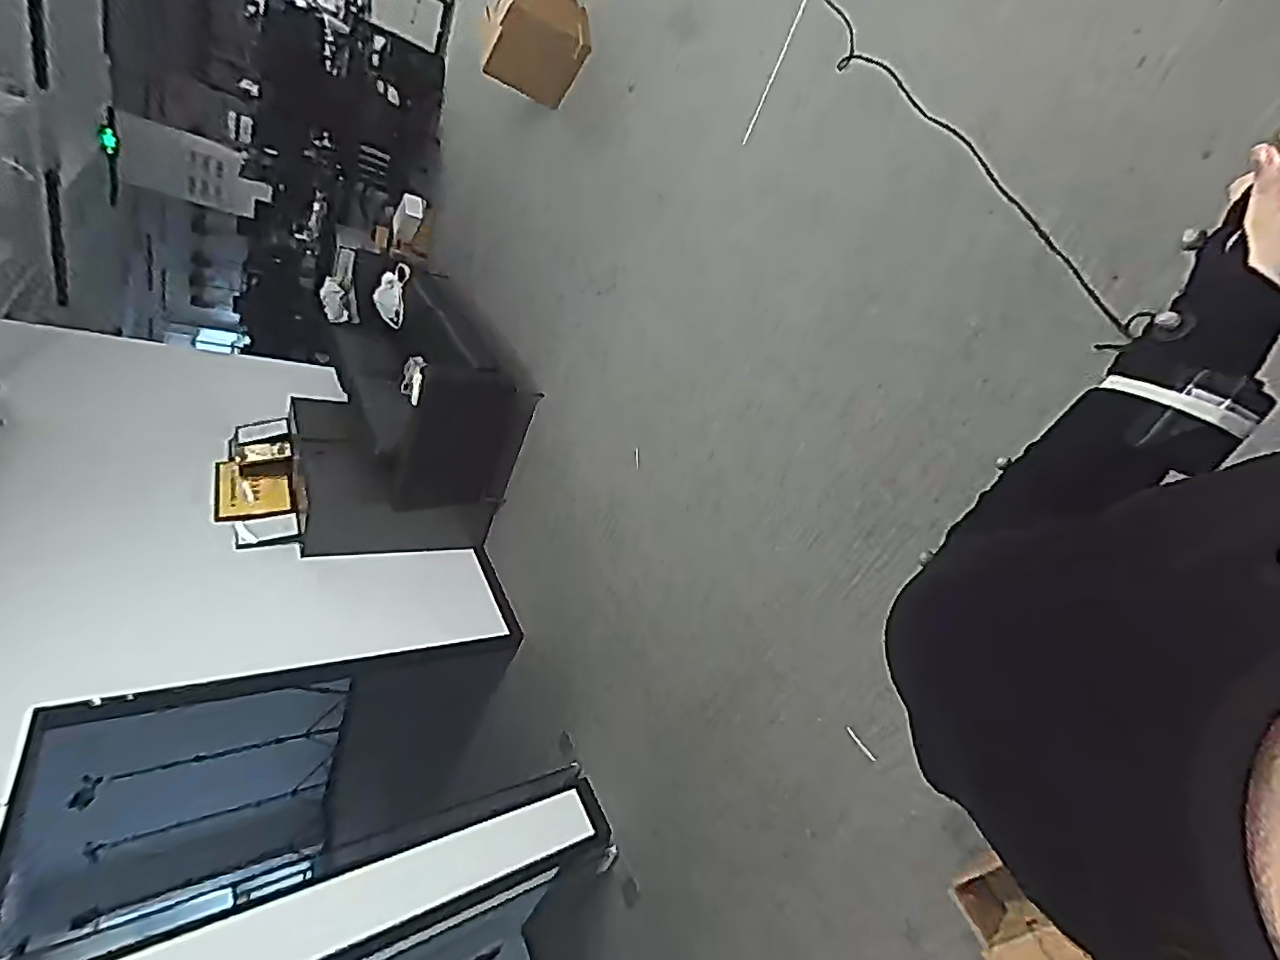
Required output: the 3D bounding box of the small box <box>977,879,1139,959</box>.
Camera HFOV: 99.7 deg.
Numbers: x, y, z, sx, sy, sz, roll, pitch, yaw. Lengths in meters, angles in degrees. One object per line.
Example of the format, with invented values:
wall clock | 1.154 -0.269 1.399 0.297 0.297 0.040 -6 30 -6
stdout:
small box | 0.768 0.871 0.980 0.168 0.176 0.179 56 129 35
